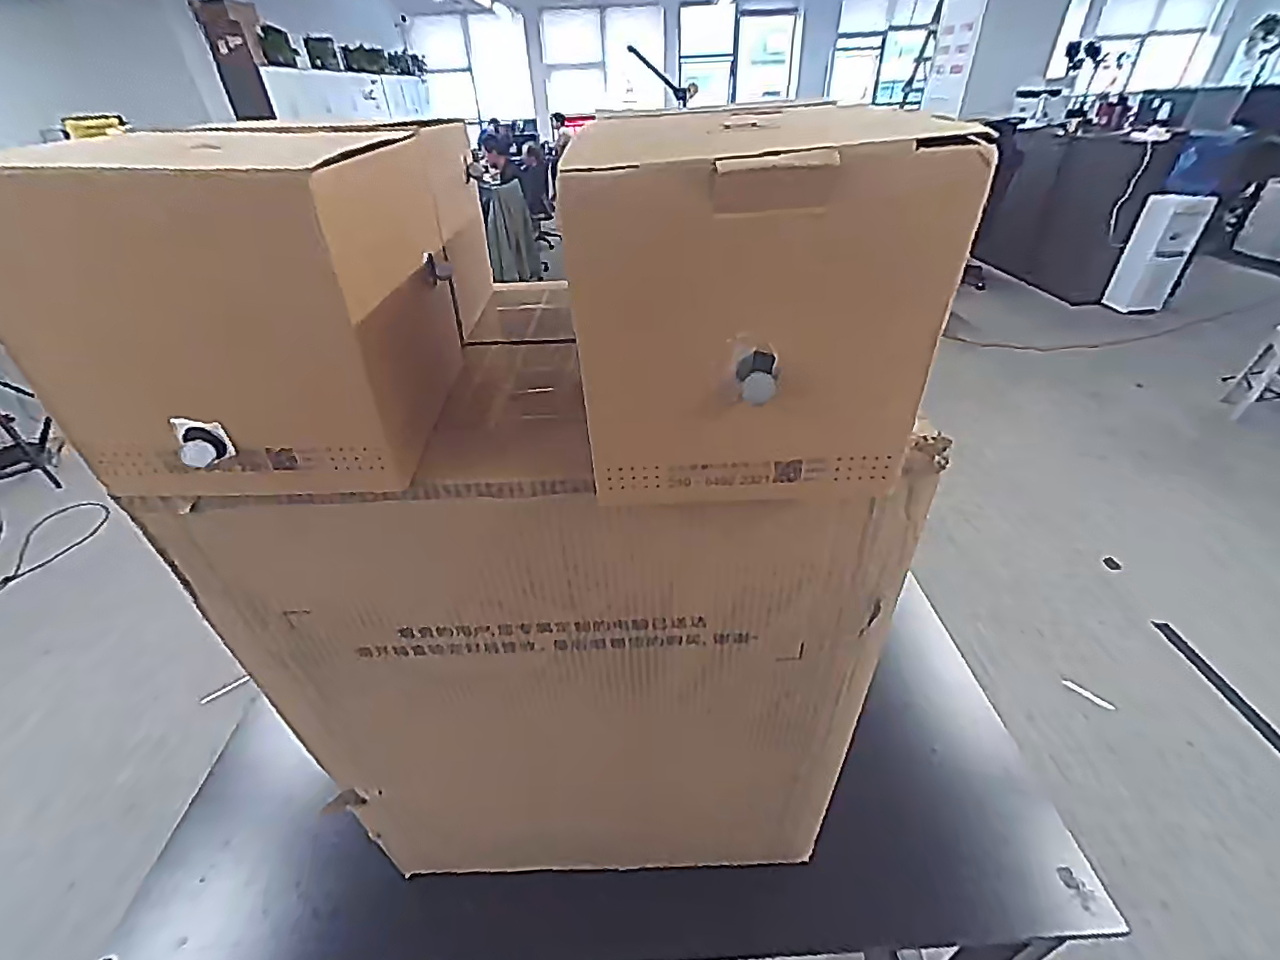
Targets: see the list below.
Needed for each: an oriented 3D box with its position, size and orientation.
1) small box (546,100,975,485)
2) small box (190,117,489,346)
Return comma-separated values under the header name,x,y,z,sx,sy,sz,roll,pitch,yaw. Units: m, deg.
name,x,y,z,sx,sy,sz,roll,pitch,yaw
small box,0.051,-0.108,0.316,0.168,0.176,0.179,-3,37,2
small box,-0.245,-0.232,0.501,0.168,0.176,0.179,-3,34,-2
